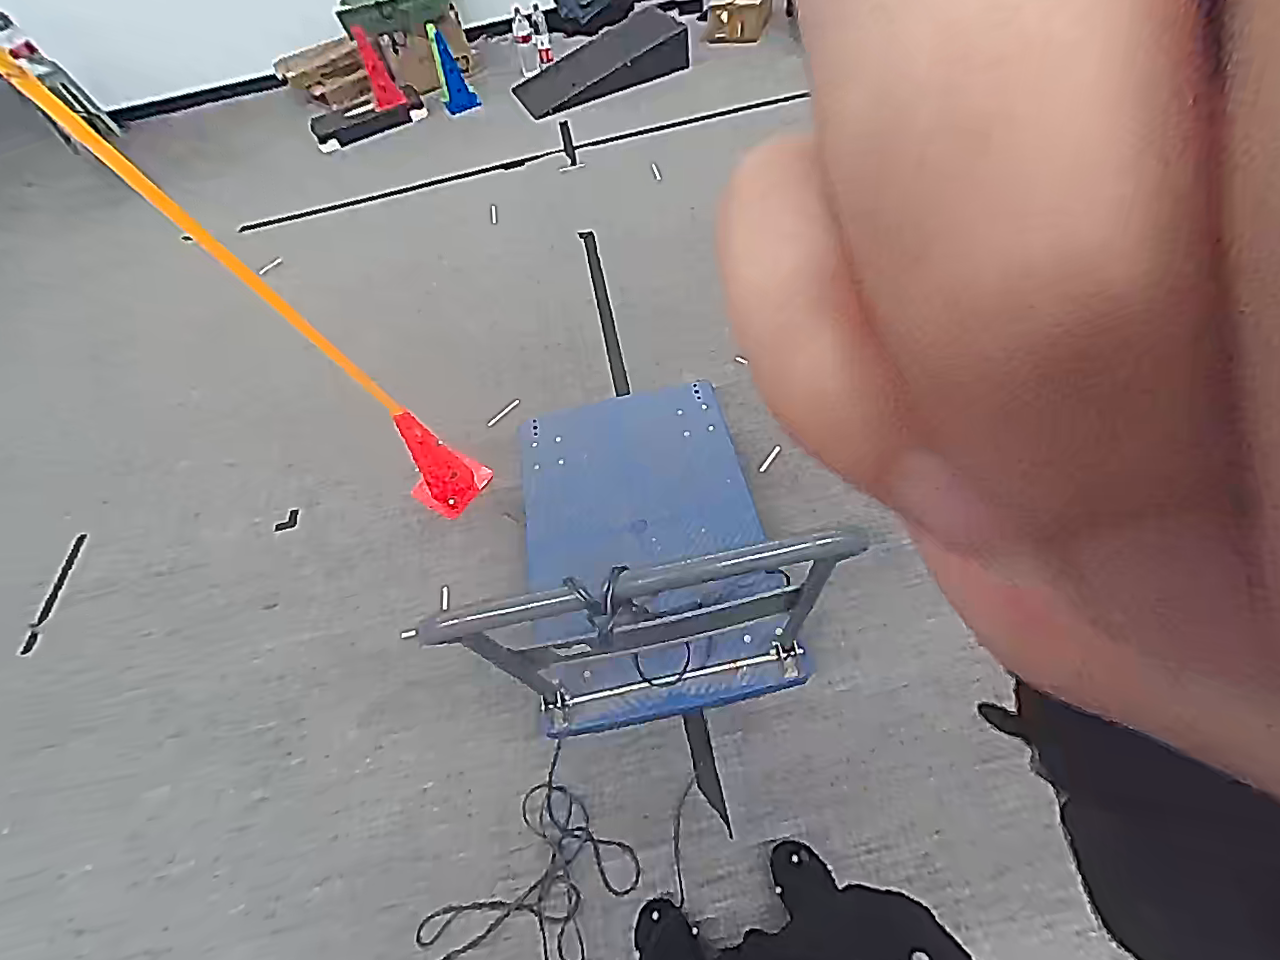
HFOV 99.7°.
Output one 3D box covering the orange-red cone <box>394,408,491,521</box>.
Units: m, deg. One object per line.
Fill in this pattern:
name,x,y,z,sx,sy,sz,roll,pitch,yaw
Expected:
orange-red cone,-0.609,-0.076,1.557,0.198,0.360,0.199,27,63,23
